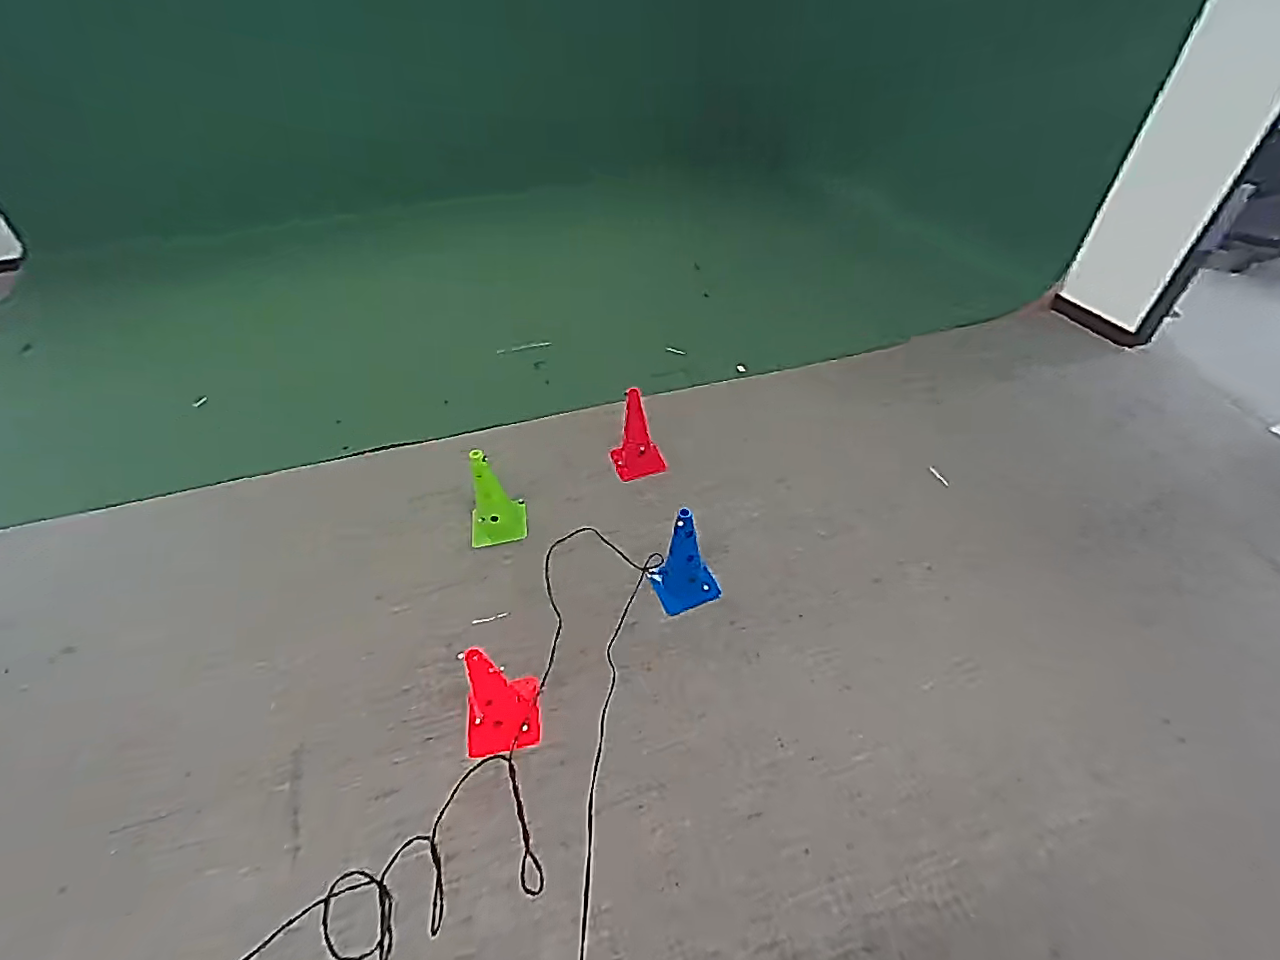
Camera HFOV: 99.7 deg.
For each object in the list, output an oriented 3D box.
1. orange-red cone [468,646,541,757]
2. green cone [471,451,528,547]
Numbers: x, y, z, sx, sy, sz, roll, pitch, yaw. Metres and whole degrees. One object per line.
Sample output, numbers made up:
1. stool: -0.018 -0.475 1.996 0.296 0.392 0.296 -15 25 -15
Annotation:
1. orange-red cone: -0.383 0.535 1.396 0.198 0.360 0.199 -9 43 -7
2. green cone: -0.536 0.039 1.911 0.200 0.368 0.202 -11 46 -7
